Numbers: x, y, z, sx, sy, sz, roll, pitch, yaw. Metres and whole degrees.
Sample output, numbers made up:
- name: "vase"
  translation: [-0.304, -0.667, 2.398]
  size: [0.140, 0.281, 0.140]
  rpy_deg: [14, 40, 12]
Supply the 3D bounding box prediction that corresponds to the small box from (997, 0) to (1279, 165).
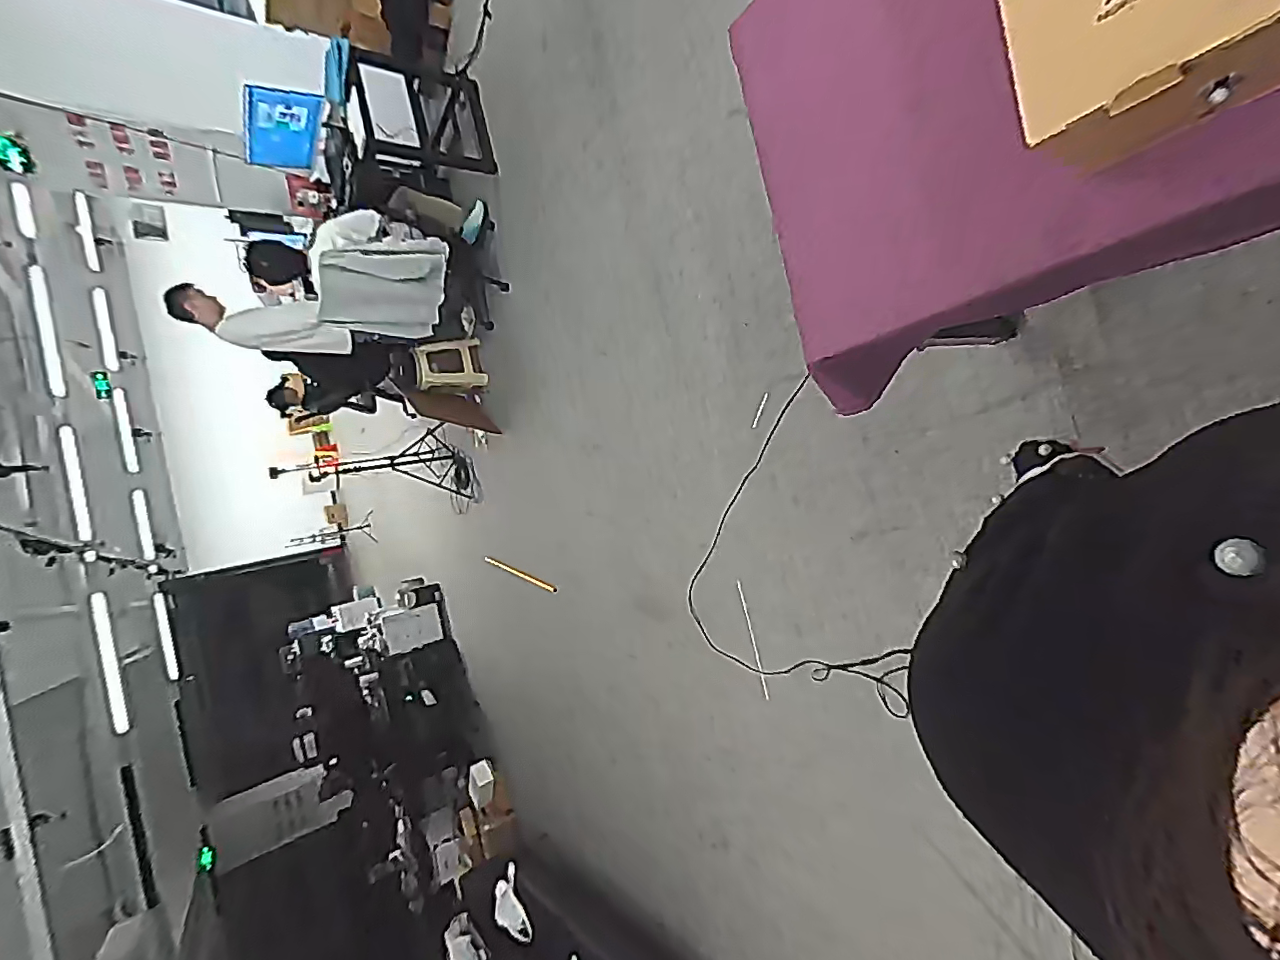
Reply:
- name: "small box"
  translation: [0.464, -0.422, 0.501]
  size: [0.168, 0.176, 0.179]
  rpy_deg: [-10, 90, 53]
